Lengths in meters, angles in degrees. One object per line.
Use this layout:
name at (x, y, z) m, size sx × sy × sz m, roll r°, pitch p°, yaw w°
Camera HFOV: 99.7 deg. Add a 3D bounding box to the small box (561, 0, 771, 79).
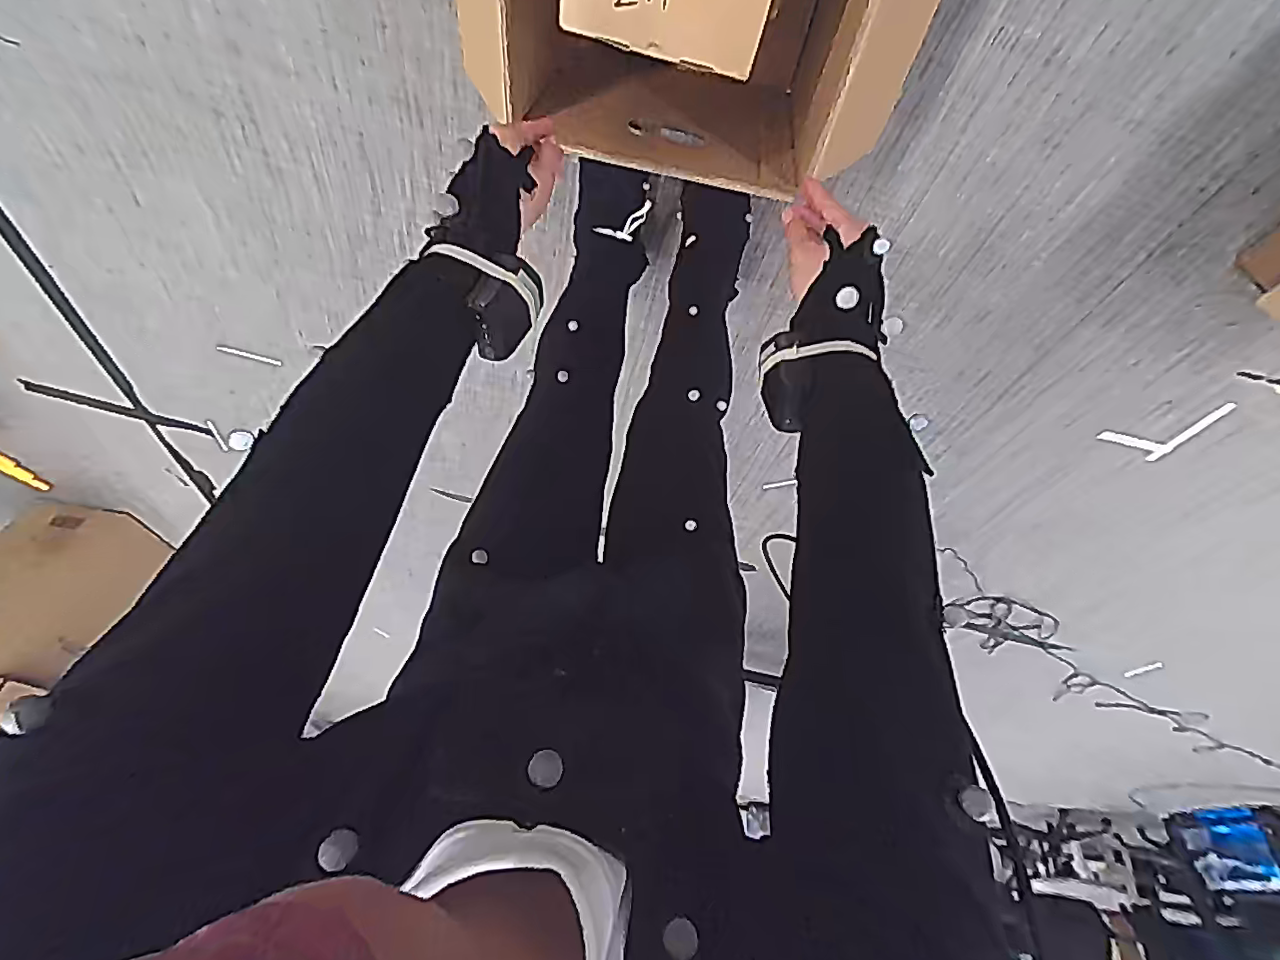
small box at (0.040, -0.473, 0.437) m, size 0.168 × 0.176 × 0.179 m, roll 13°, pitch 143°, yaw -3°
